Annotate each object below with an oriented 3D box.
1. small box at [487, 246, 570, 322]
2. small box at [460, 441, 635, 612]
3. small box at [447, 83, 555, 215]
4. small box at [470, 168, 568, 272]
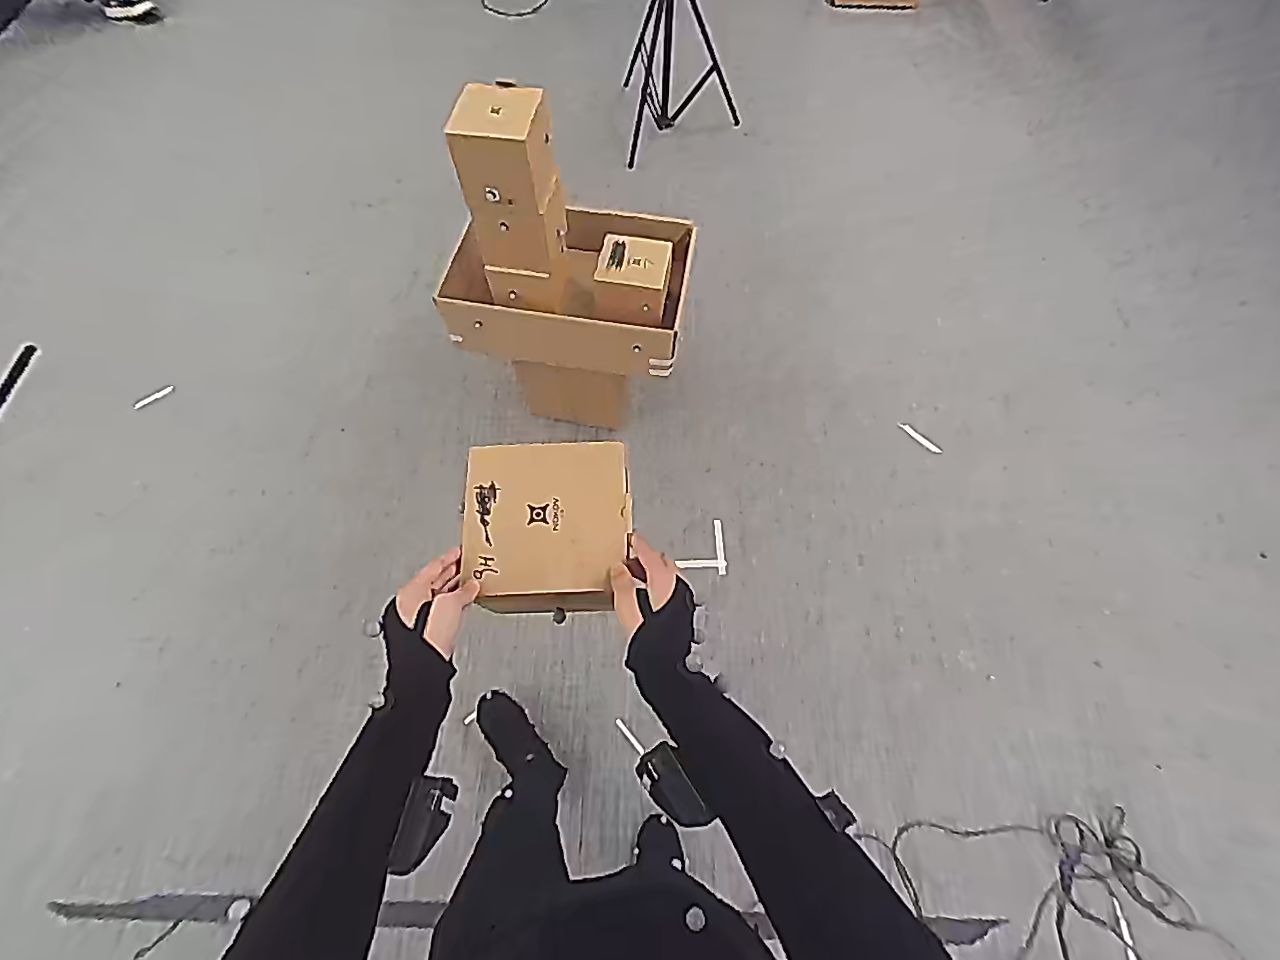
[{"bbox_3d":[-0.286,-0.544,1.434,0.168,0.176,0.179,8,64,2],"label":"small box"},{"bbox_3d":[-0.096,0.062,0.643,0.179,0.176,0.168,-1,69,-1],"label":"small box"},{"bbox_3d":[-0.282,-0.695,1.142,0.168,0.176,0.179,7,63,3],"label":"small box"},{"bbox_3d":[-0.279,-0.623,1.289,0.179,0.176,0.168,9,64,3],"label":"small box"}]
